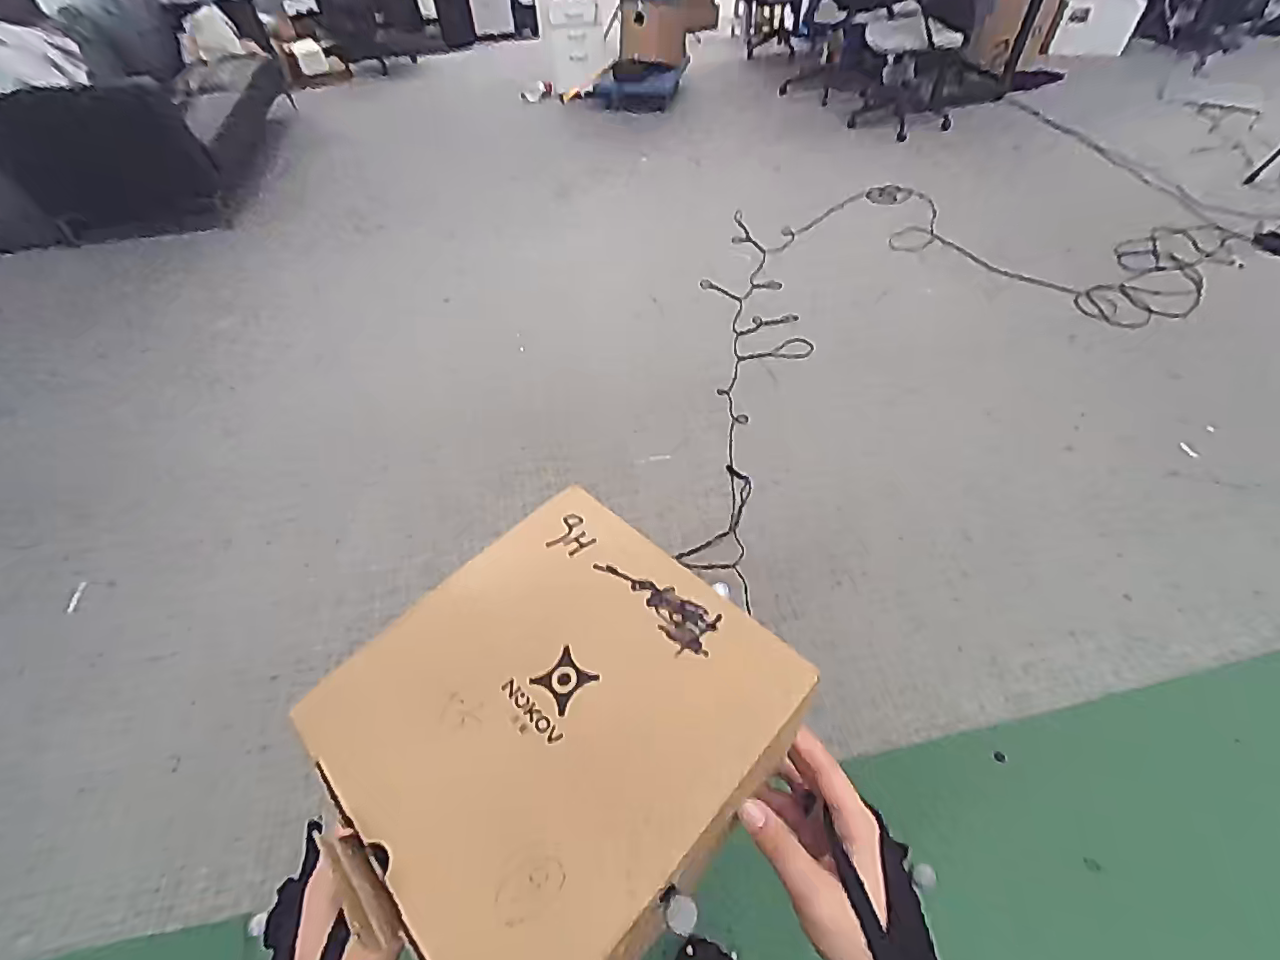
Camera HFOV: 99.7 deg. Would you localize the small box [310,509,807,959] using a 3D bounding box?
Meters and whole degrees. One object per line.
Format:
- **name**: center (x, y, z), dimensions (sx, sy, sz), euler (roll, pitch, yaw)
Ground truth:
- **small box**: center (-0.031, 0.157, 0.307), dimensions (0.168, 0.176, 0.179), euler (34, 61, 30)
